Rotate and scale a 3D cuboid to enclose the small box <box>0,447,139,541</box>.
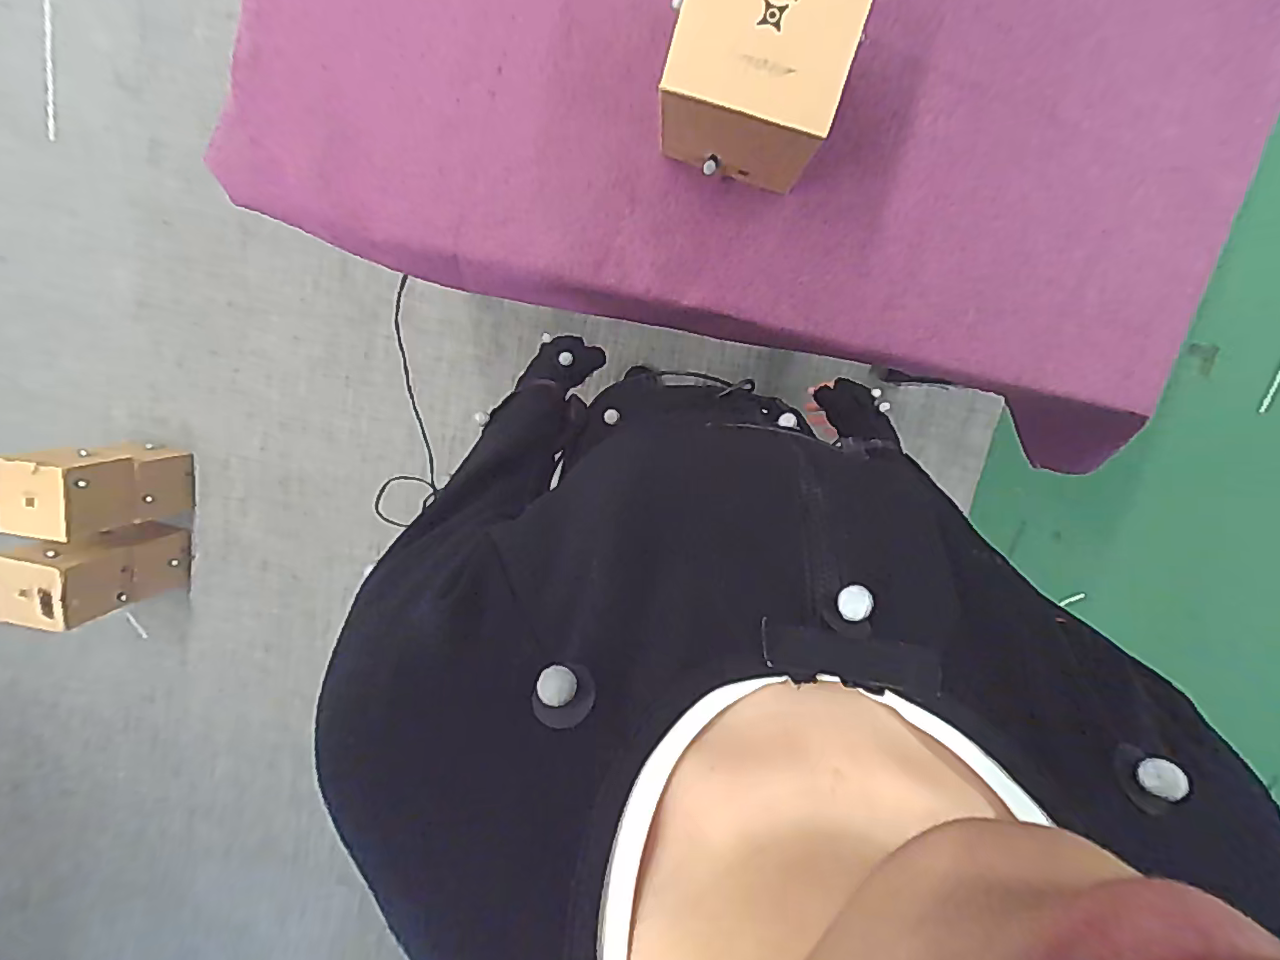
[{"bbox_3d":[-1.351,0.027,1.290,0.168,0.176,0.179,9,101,0],"label":"small box"}]

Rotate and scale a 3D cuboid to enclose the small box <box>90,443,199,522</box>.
[{"bbox_3d":[-1.341,0.000,1.451,0.179,0.176,0.168,10,102,1],"label":"small box"}]

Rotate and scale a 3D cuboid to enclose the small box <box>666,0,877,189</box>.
[{"bbox_3d":[0.127,-0.439,0.561,0.168,0.176,0.179,17,102,0],"label":"small box"}]
